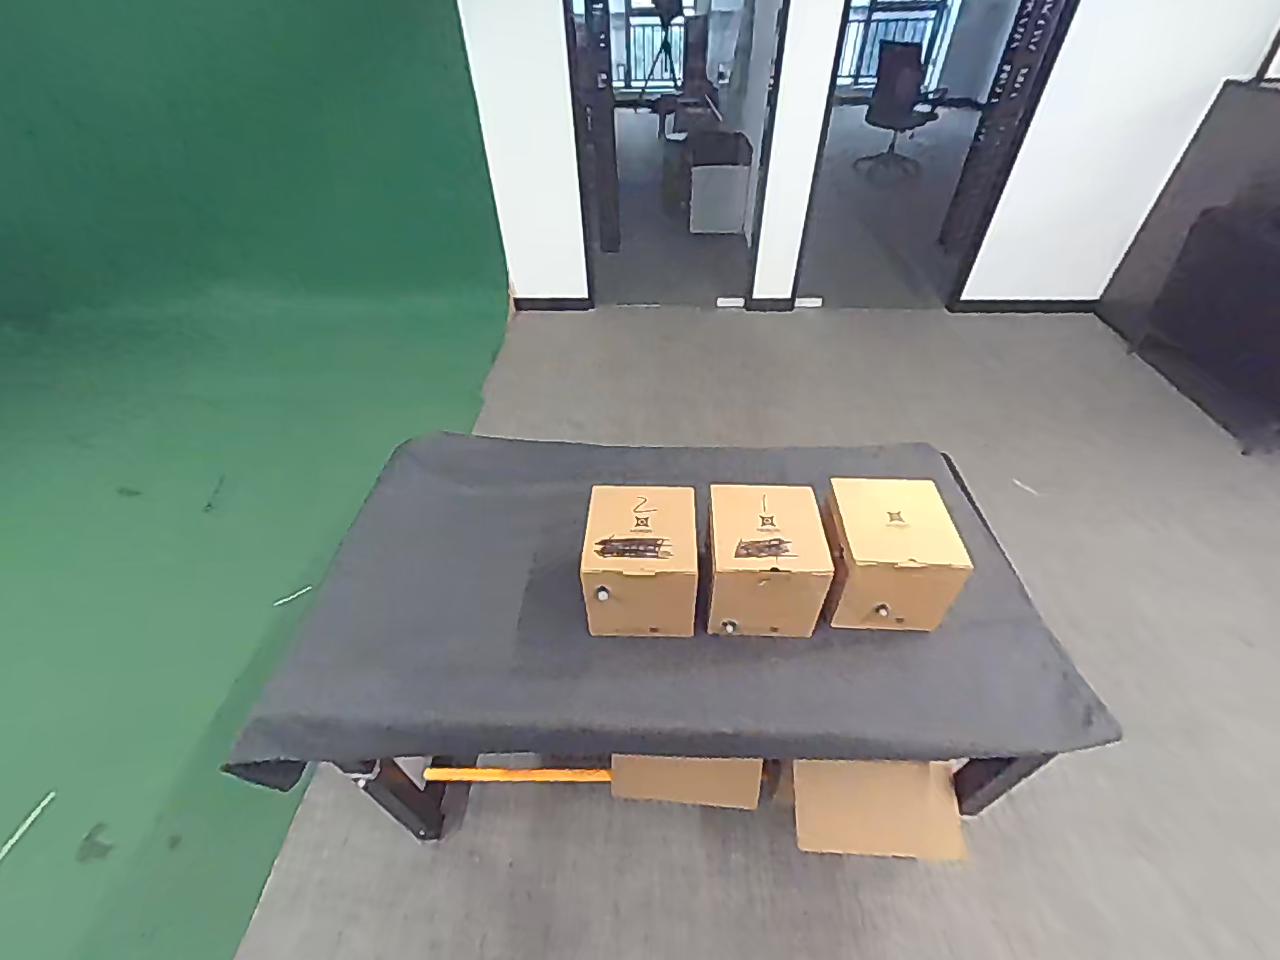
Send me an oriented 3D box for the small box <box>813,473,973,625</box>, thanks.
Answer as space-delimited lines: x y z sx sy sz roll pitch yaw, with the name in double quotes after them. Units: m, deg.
0.388 0.110 0.870 0.168 0.176 0.179 1 44 3 "small box"
